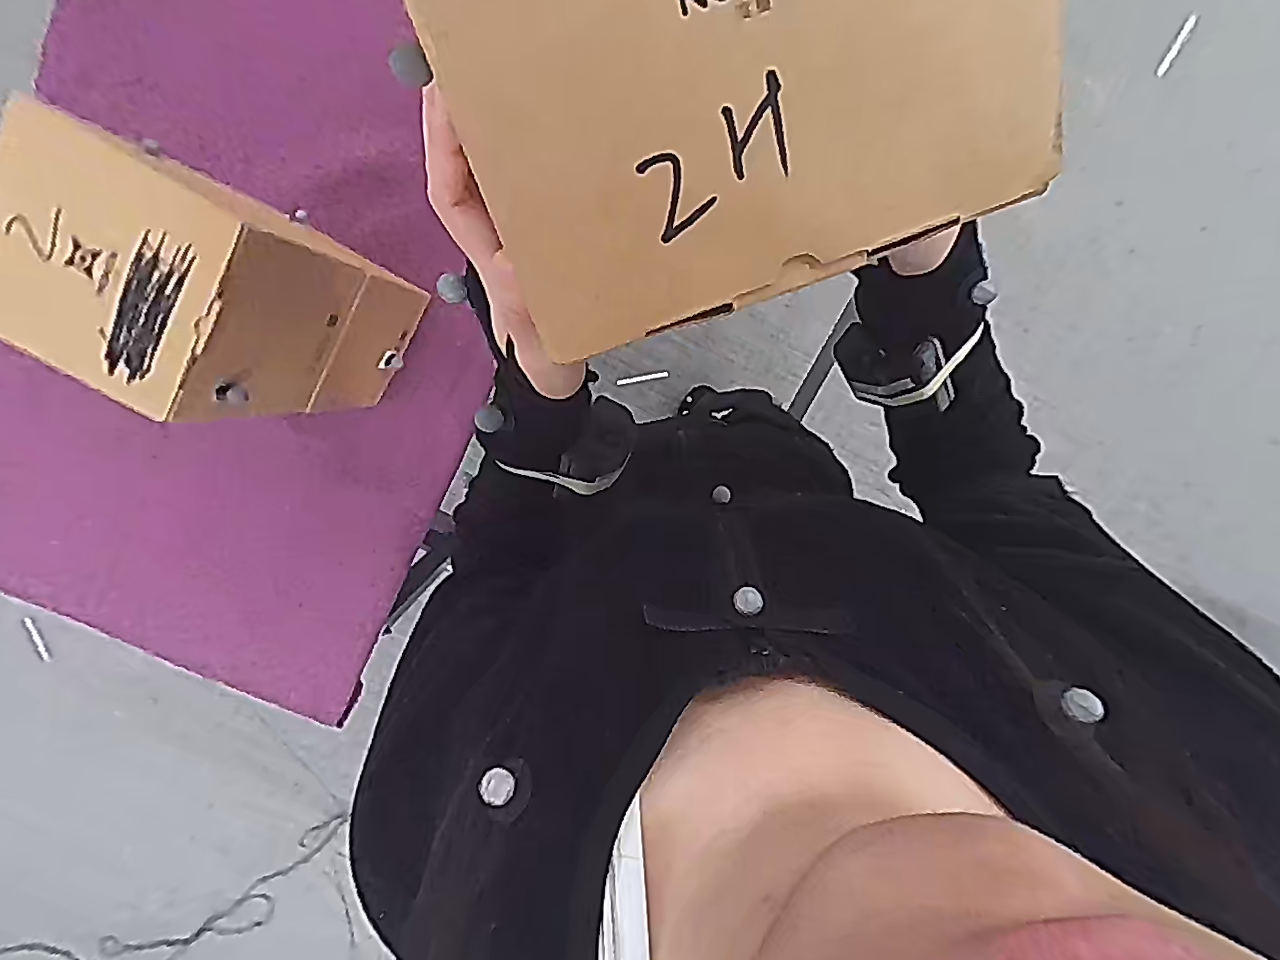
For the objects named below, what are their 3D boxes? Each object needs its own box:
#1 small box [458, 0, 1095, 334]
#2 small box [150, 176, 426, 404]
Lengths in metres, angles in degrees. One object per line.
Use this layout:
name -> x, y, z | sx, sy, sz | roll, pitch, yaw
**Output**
small box -> 0.023, -0.174, 0.205 | 0.168, 0.176, 0.179 | -19, 114, 2
small box -> -0.384, -0.201, 0.623 | 0.179, 0.176, 0.168 | 29, 99, -7
